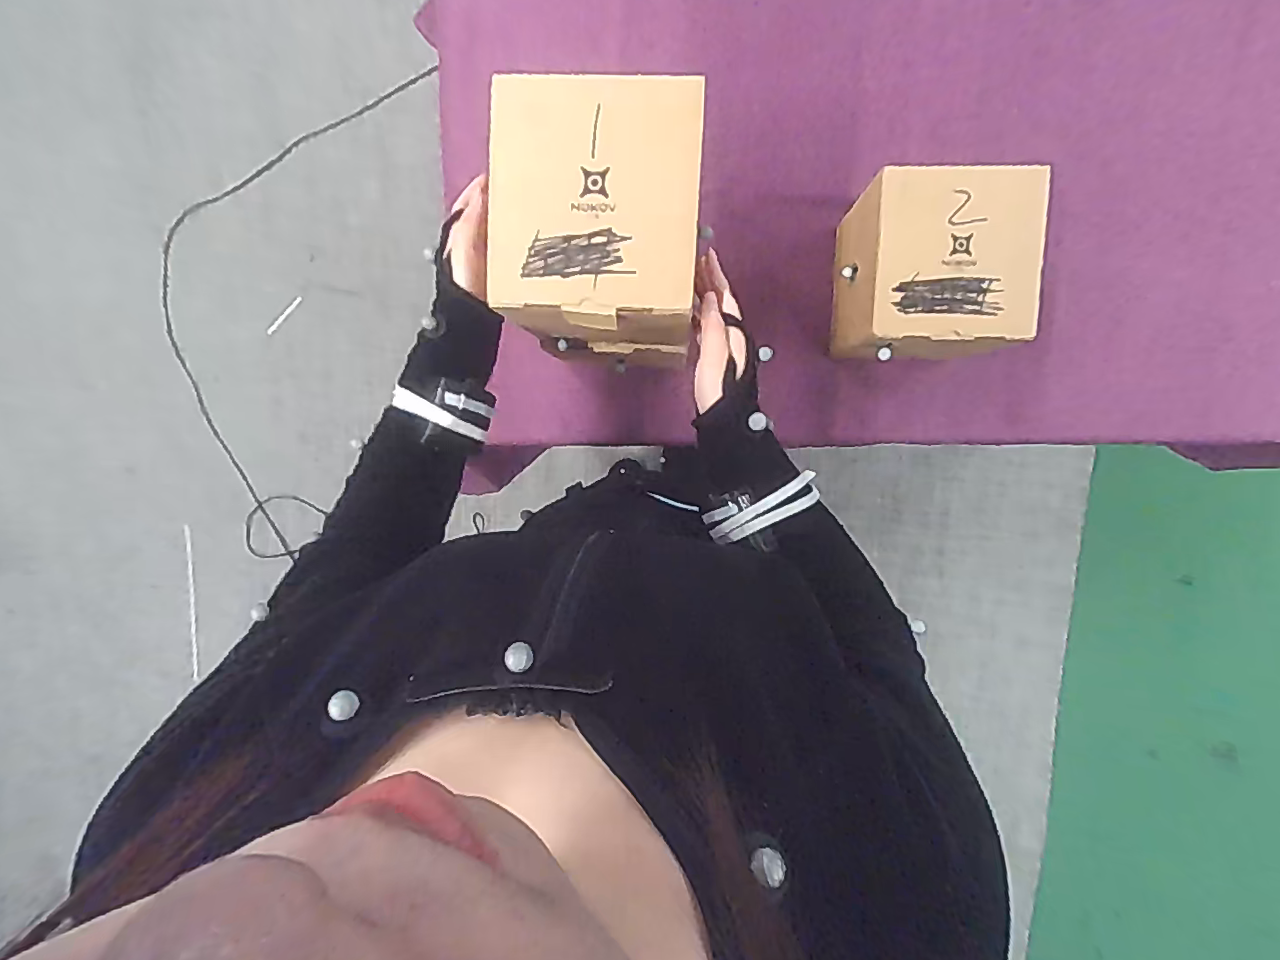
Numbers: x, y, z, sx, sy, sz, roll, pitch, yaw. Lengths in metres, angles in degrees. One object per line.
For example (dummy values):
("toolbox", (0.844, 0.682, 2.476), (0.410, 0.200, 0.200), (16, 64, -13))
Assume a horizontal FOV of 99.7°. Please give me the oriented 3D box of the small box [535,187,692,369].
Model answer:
("small box", (-0.027, -0.233, 0.665), (0.168, 0.176, 0.179), (4, 97, 2))
